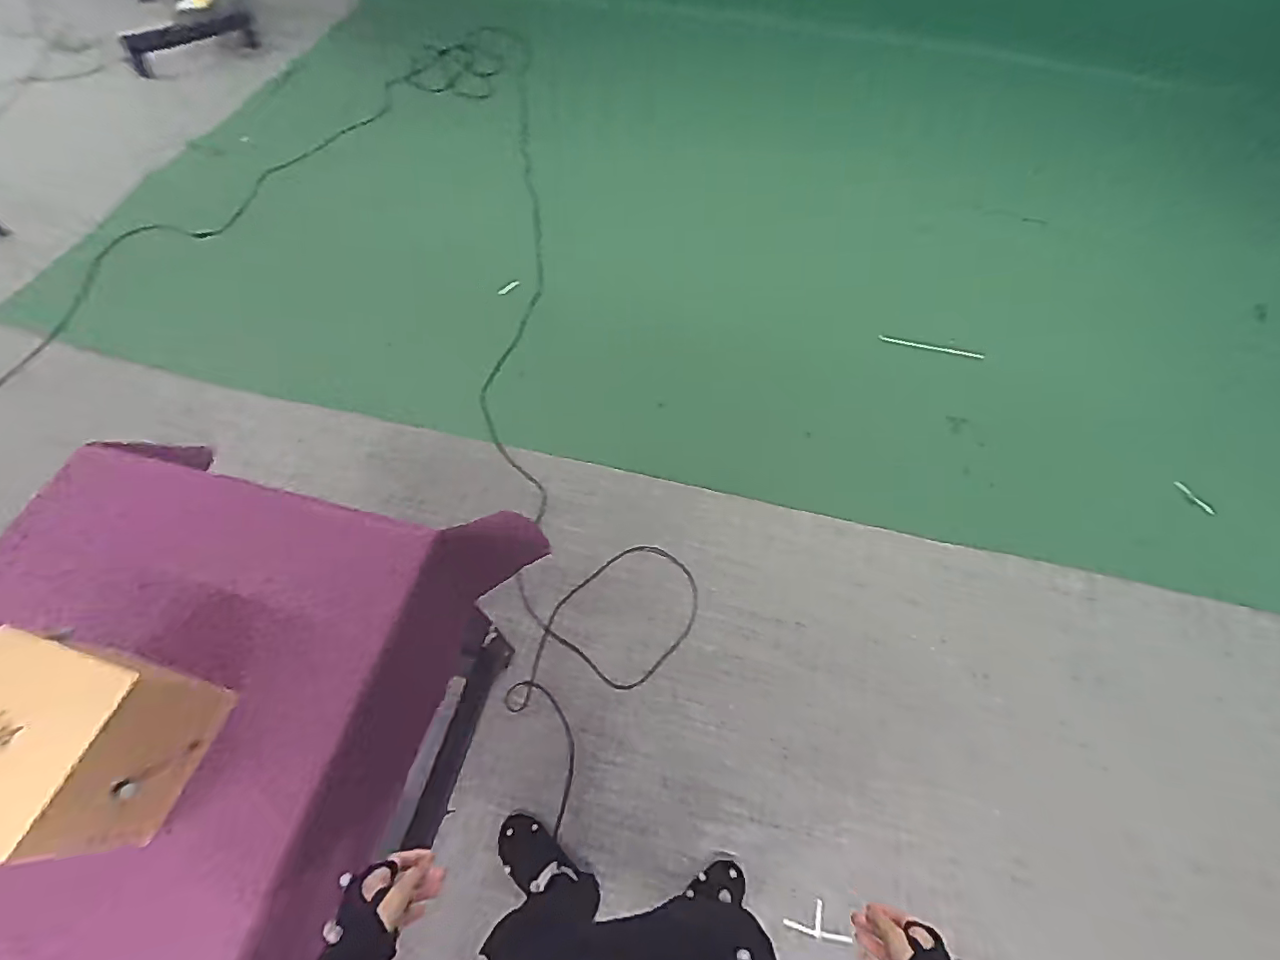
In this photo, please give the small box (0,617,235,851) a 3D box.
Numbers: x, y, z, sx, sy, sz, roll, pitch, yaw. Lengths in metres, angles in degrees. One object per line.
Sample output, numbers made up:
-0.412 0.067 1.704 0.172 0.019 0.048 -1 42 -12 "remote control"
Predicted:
-0.603 0.269 0.585 0.179 0.176 0.168 15 61 8 "small box"
